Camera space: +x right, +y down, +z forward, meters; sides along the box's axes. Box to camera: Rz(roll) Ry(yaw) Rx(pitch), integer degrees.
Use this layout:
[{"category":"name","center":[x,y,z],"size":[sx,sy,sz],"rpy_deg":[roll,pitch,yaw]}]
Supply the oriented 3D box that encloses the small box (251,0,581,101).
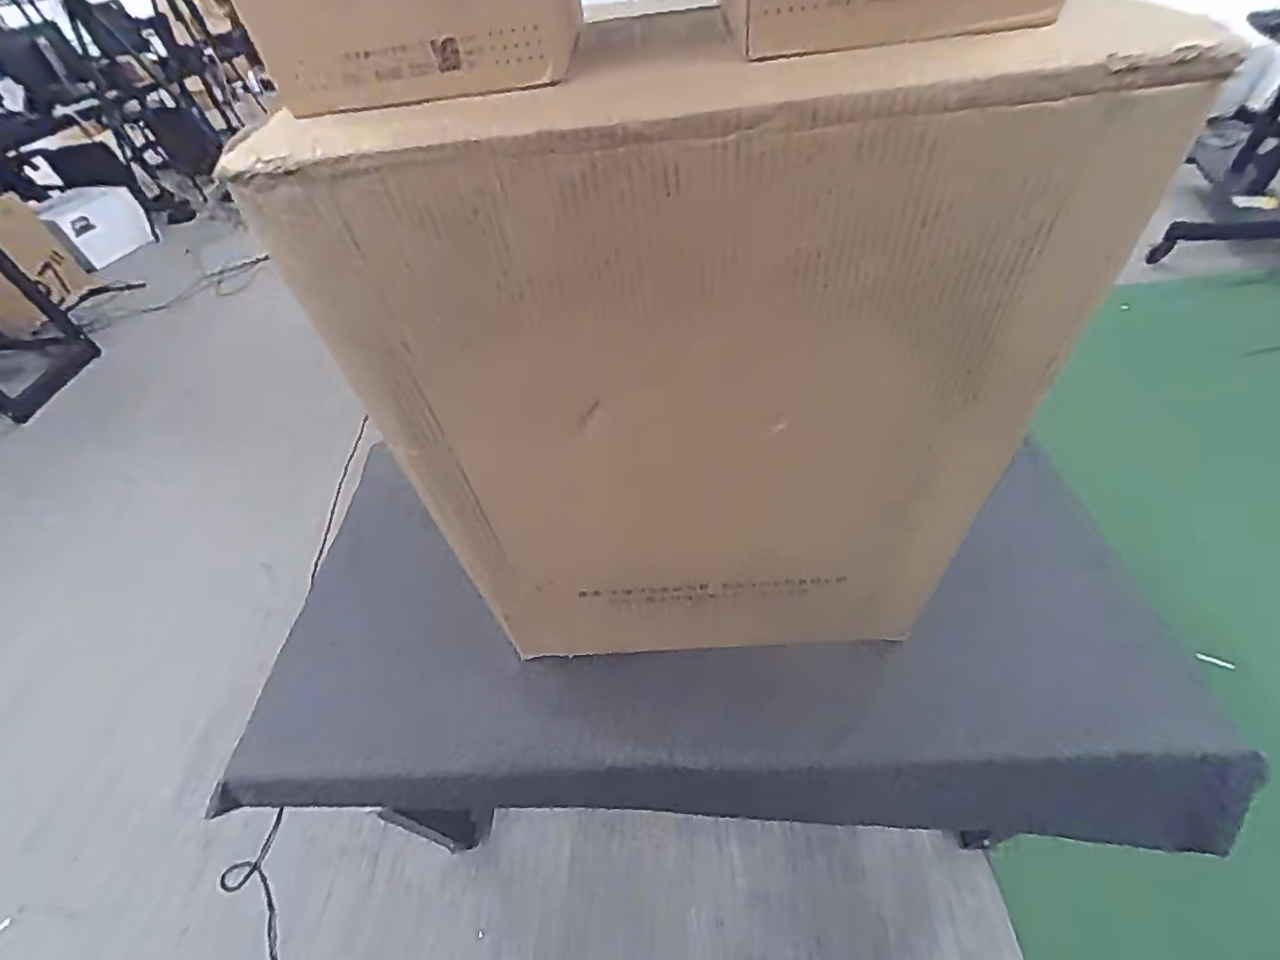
[{"category":"small box","center":[-0.131,-0.338,0.308],"size":[0.168,0.176,0.179],"rpy_deg":[-3,51,4]}]

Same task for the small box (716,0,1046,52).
[{"category":"small box","center":[0.132,-0.350,0.291],"size":[0.168,0.176,0.179],"rpy_deg":[-2,49,2]}]
